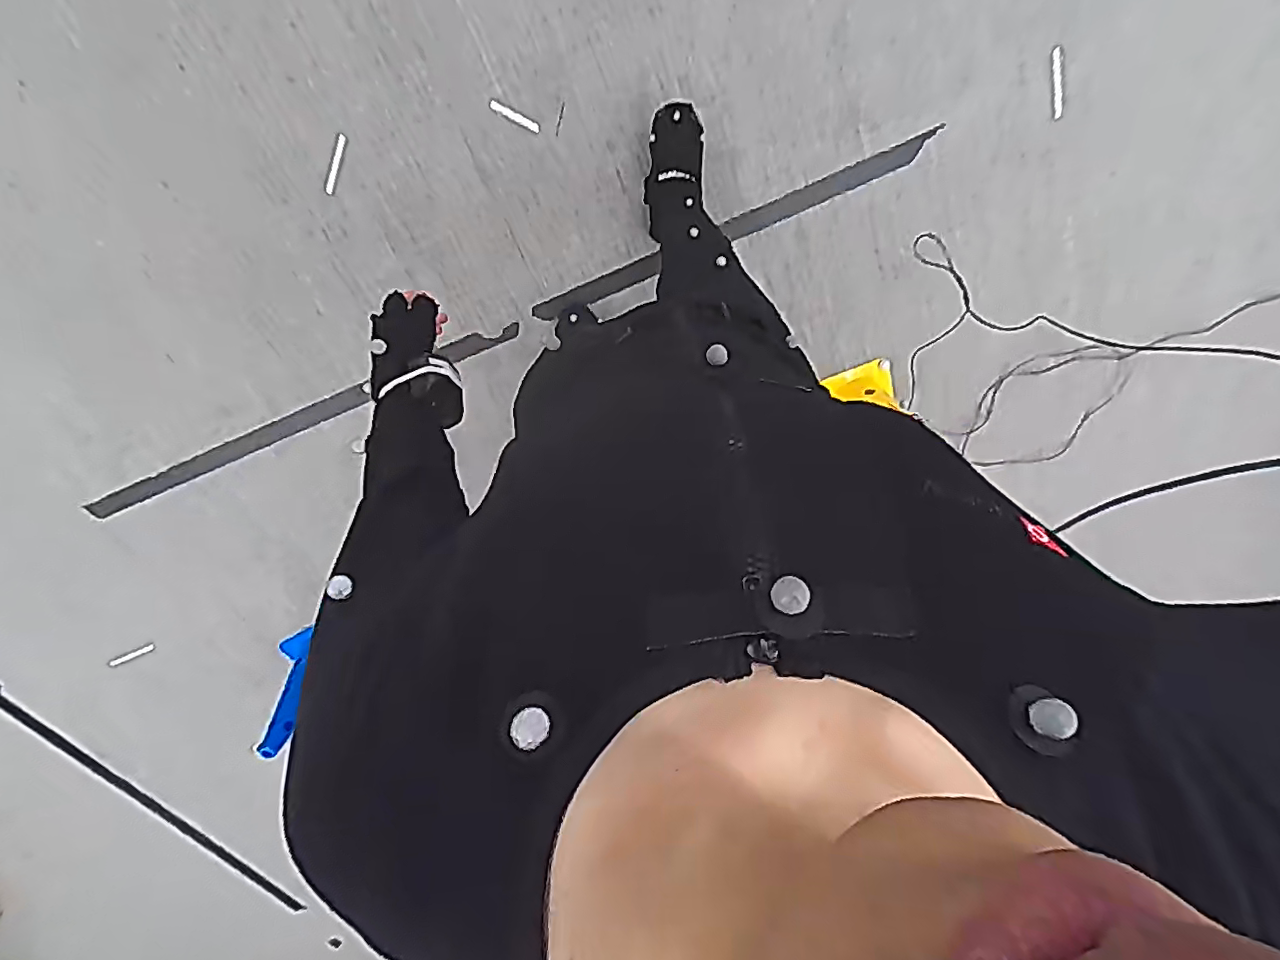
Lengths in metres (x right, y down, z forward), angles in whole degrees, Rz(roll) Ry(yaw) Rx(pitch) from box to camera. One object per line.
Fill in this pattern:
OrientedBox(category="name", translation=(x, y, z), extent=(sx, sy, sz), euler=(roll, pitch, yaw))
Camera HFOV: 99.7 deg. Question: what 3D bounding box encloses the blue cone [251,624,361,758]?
OrientedBox(category="blue cone", translation=(-0.967, 0.610, 1.521), extent=(0.193, 0.380, 0.192), euler=(-27, 115, 7))
